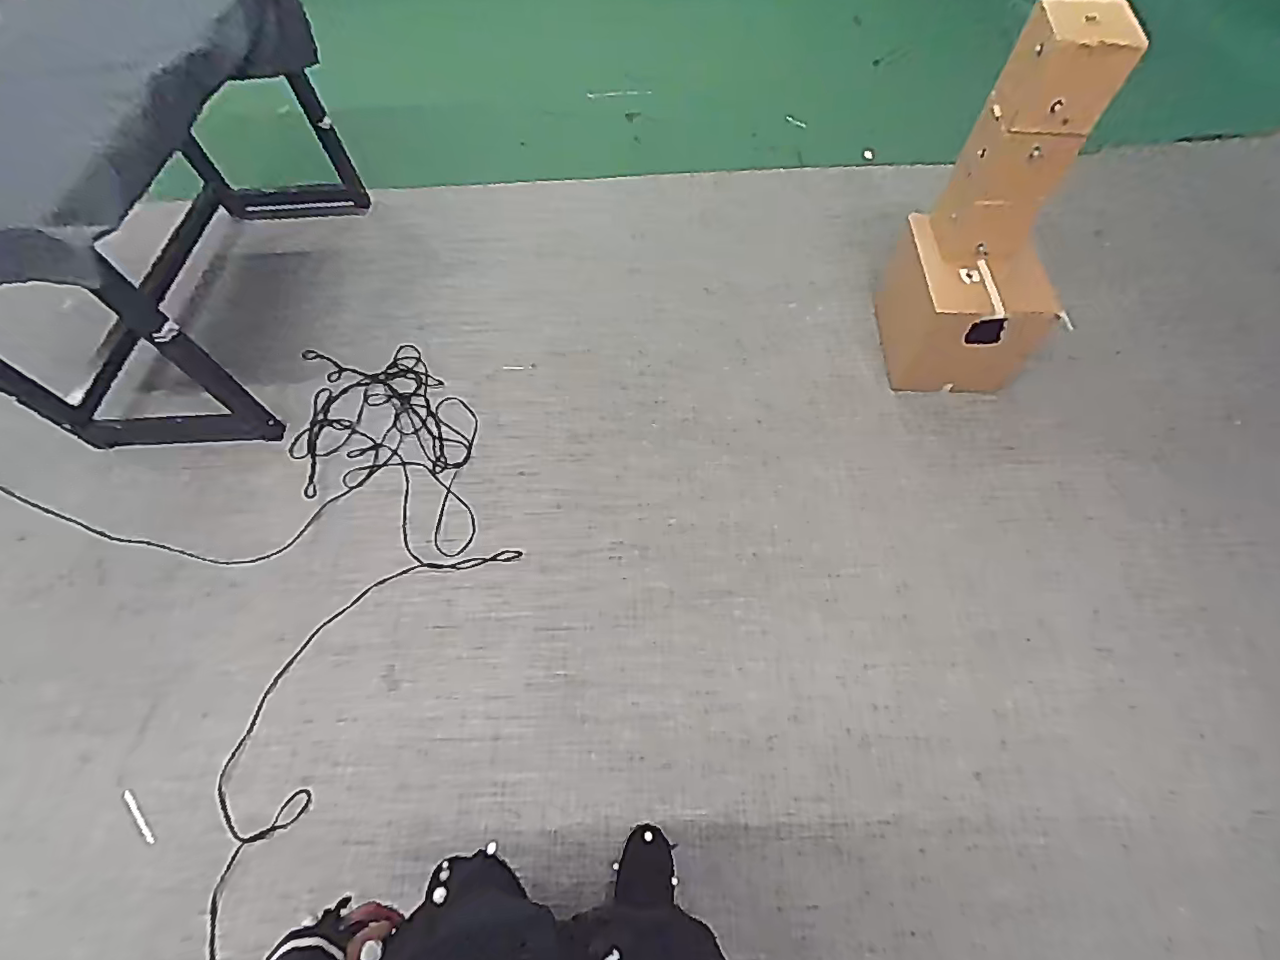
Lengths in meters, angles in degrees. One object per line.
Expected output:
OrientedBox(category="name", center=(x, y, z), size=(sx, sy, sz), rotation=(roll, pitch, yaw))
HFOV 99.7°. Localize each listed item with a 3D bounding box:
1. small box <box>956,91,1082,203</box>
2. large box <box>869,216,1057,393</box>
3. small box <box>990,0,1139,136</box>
OrientedBox(category="small box", center=(0.871, -0.777, 1.269), size=(0.179, 0.176, 0.168), rotation=(4, 63, 4))
OrientedBox(category="large box", center=(0.905, -0.506, 1.582), size=(0.320, 0.320, 0.408), rotation=(1, 62, 4))
OrientedBox(category="small box", center=(0.865, -0.855, 1.126), size=(0.168, 0.176, 0.179), rotation=(5, 64, 5))
